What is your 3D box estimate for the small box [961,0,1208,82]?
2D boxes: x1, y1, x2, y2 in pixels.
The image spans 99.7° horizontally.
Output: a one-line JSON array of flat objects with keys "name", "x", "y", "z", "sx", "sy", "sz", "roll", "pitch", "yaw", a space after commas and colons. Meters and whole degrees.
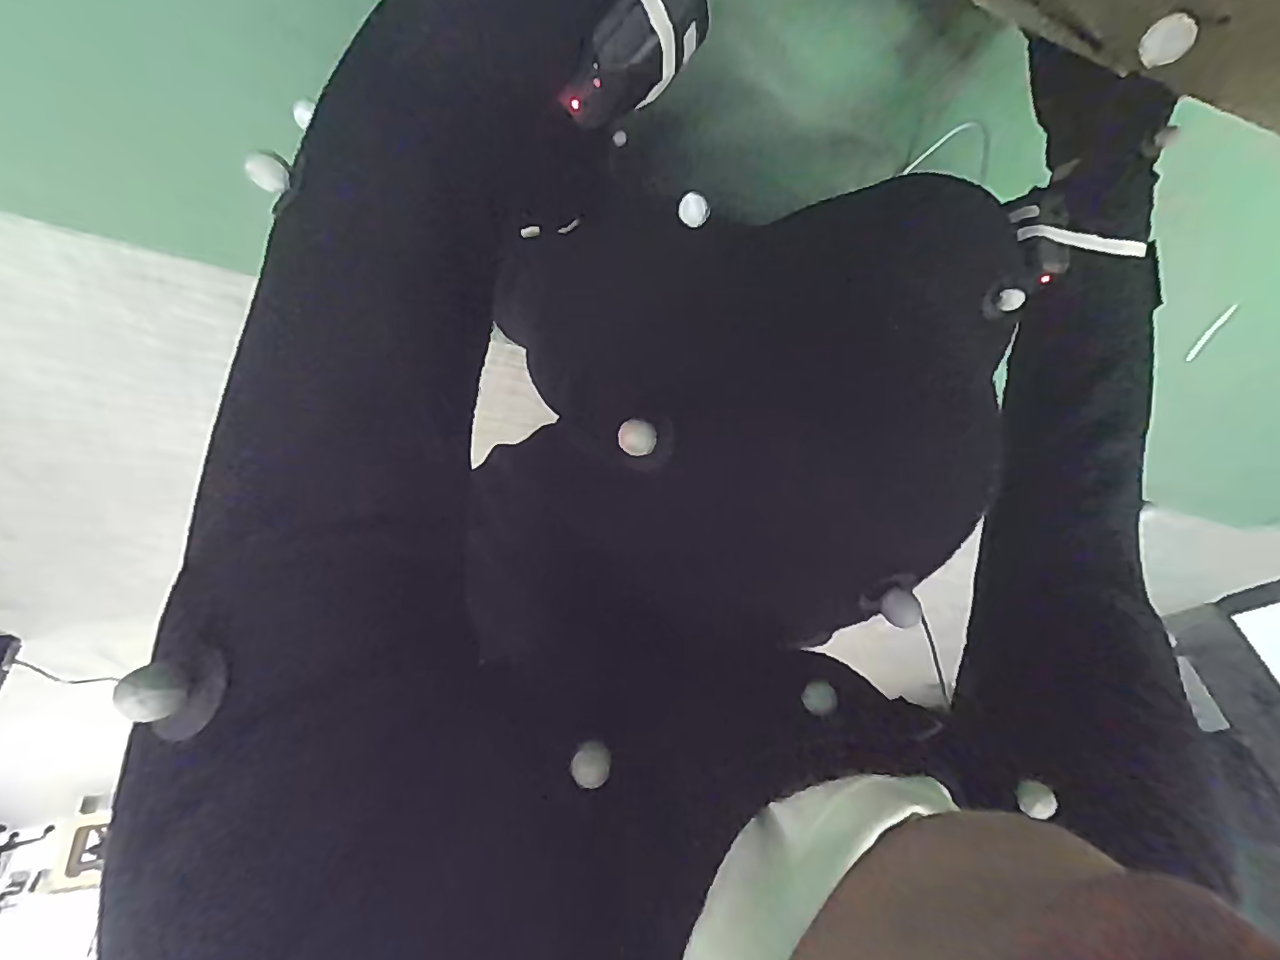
[{"name": "small box", "x": 0.231, "y": -0.355, "z": 0.269, "sx": 0.168, "sy": 0.176, "sz": 0.179, "roll": 10, "pitch": 137, "yaw": -24}]
